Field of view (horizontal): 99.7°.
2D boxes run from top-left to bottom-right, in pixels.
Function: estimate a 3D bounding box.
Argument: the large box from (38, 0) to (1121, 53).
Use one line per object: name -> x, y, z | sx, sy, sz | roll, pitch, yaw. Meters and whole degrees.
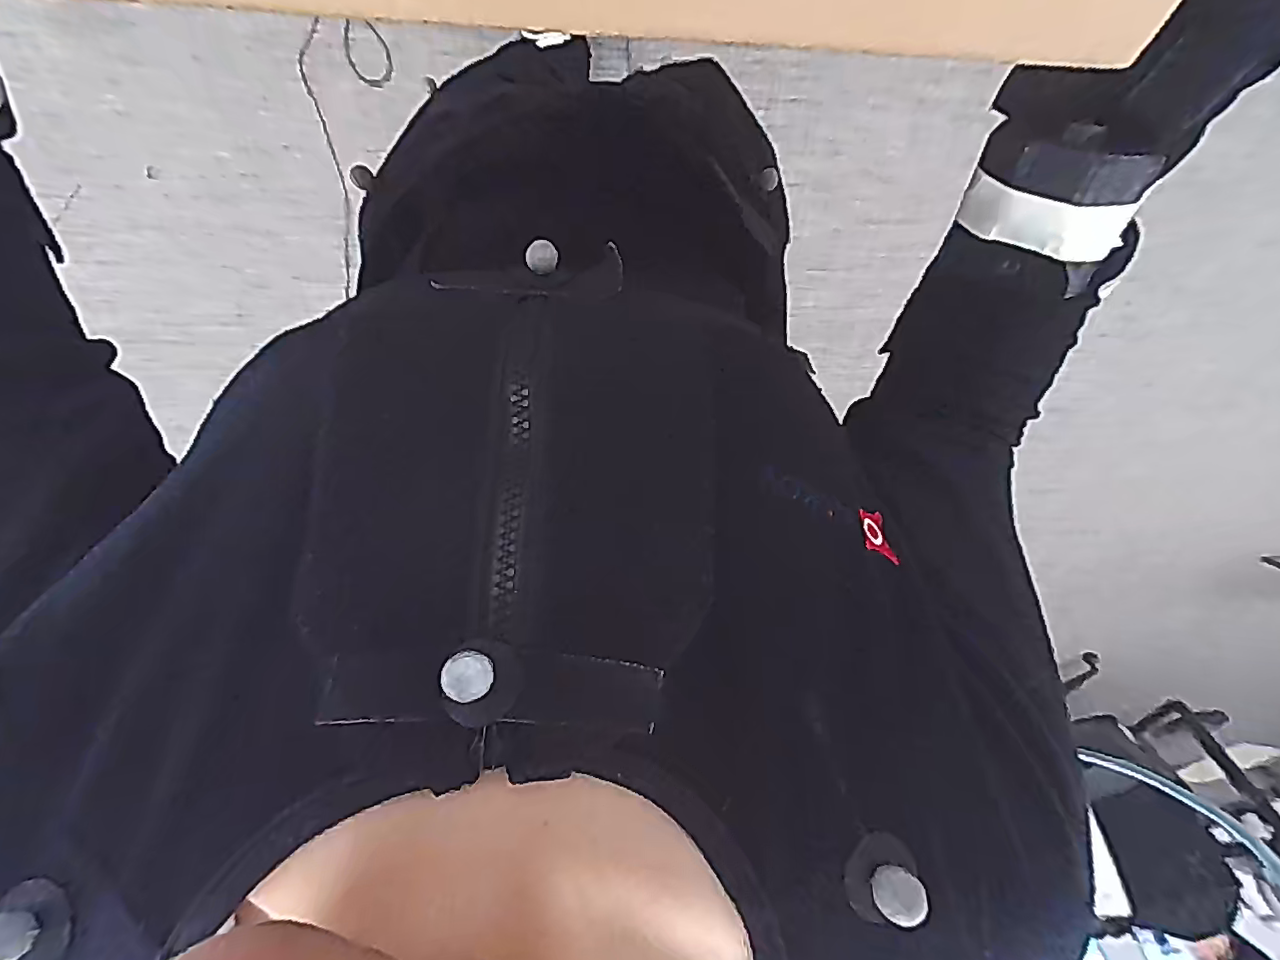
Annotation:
large box -> -0.036, -0.353, 0.122 | 0.408, 0.320, 0.320 | -2, 147, -7
